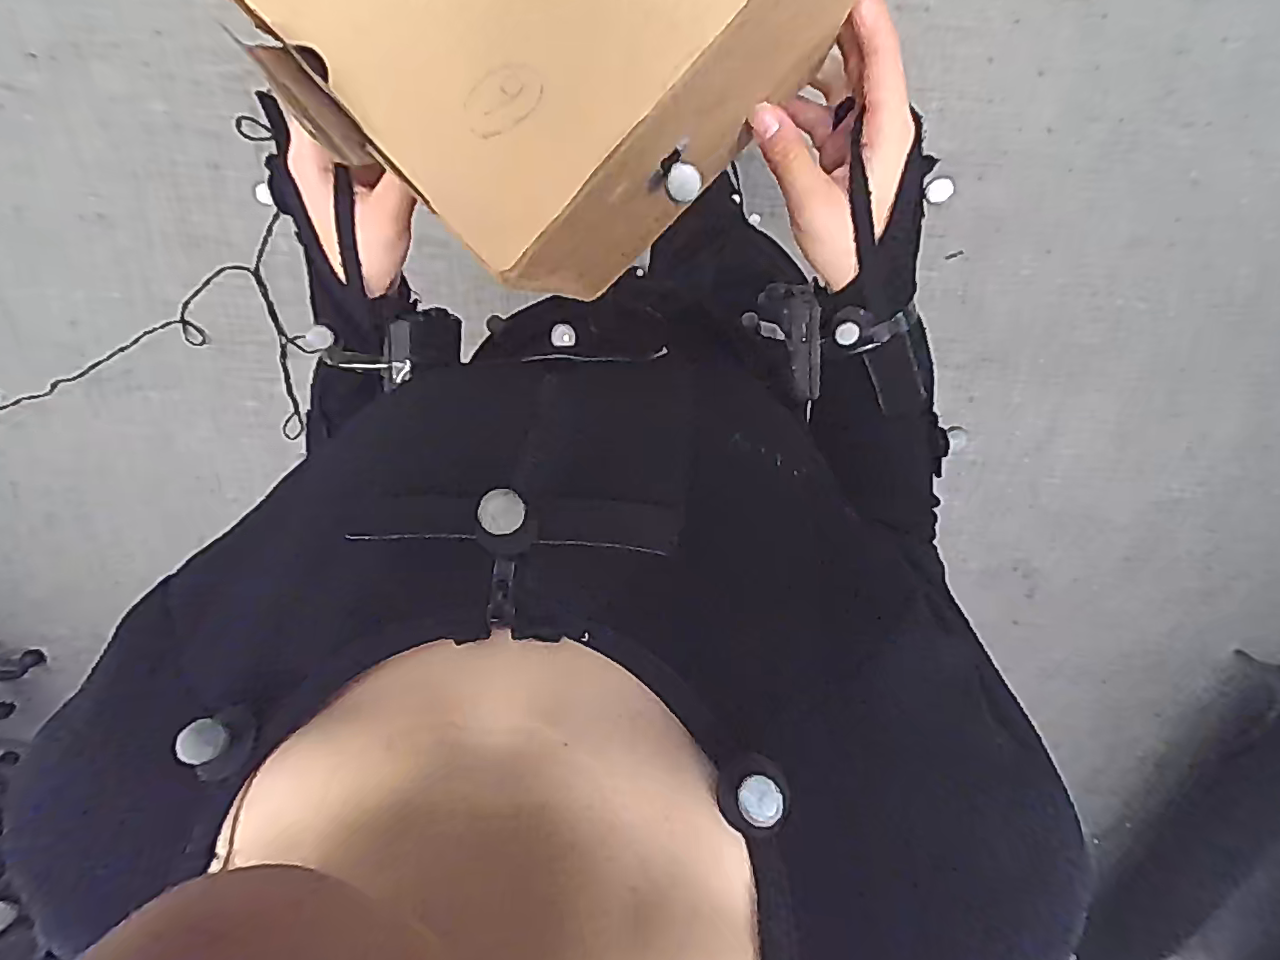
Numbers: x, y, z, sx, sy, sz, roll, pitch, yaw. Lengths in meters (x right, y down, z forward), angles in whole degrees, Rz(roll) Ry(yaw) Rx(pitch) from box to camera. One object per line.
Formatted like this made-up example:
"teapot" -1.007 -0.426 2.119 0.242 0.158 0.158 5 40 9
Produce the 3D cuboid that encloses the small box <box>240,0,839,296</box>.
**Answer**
"small box" -0.027 -0.200 0.236 0.179 0.176 0.168 -42 98 15
